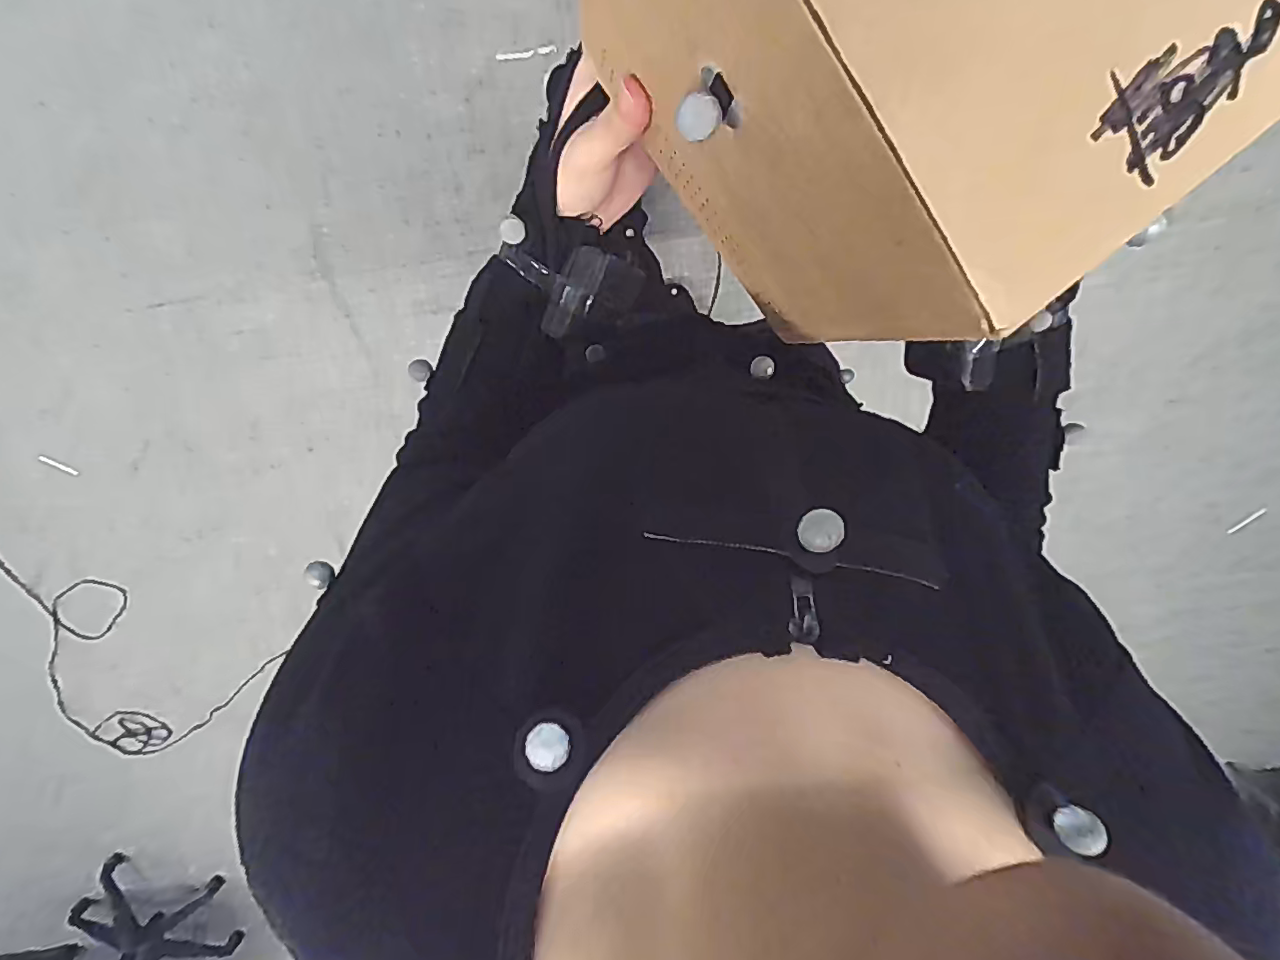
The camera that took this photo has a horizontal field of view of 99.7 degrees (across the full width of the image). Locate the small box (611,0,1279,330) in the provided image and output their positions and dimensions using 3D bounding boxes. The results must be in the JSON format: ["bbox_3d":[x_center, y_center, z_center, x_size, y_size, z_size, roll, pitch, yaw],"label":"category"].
[{"bbox_3d":[0.100,-0.173,0.204,0.168,0.176,0.179,-39,103,6],"label":"small box"}]
